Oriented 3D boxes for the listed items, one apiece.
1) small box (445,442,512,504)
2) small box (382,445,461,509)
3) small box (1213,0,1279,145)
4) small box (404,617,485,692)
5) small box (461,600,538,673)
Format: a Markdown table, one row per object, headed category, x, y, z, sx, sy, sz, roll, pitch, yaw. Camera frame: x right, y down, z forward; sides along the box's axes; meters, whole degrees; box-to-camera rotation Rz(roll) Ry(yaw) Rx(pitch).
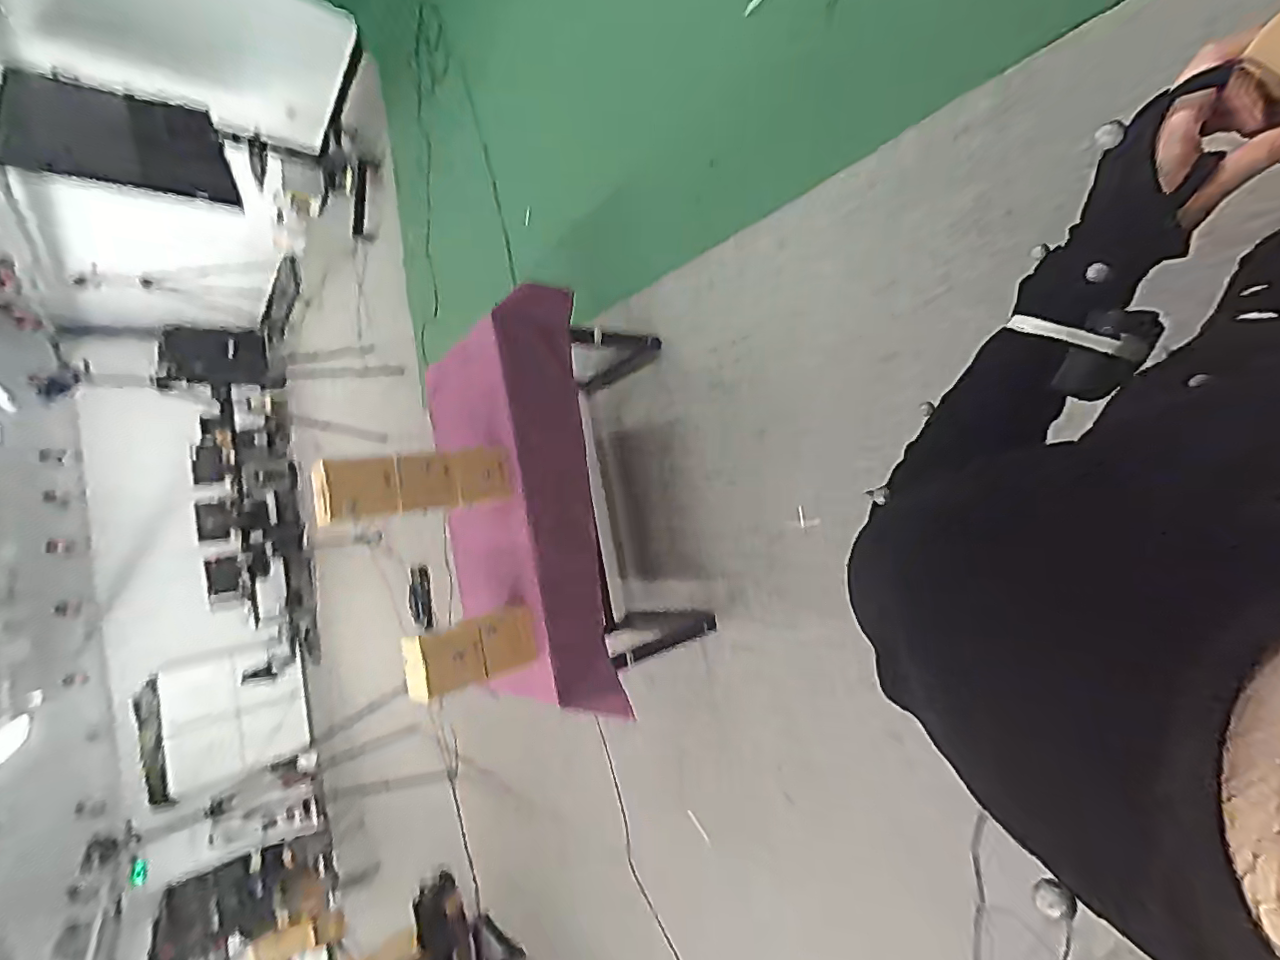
| category | x | y | z | sx | sy | sz | roll | pitch | yaw |
| --- | --- | --- | --- | --- | --- | --- | --- | --- | --- |
| small box | -0.508 | -0.023 | 1.682 | 0.179 | 0.176 | 0.168 | -12 | 85 | 49 |
| small box | -0.633 | -0.009 | 1.578 | 0.179 | 0.176 | 0.168 | -9 | 87 | 50 |
| small box | 0.435 | -0.219 | 0.241 | 0.168 | 0.176 | 0.179 | 59 | 138 | 22 |
| small box | -0.554 | 0.491 | 1.548 | 0.179 | 0.176 | 0.168 | -18 | 80 | 48 |
| small box | -0.428 | 0.473 | 1.653 | 0.168 | 0.176 | 0.179 | -17 | 80 | 49 |
